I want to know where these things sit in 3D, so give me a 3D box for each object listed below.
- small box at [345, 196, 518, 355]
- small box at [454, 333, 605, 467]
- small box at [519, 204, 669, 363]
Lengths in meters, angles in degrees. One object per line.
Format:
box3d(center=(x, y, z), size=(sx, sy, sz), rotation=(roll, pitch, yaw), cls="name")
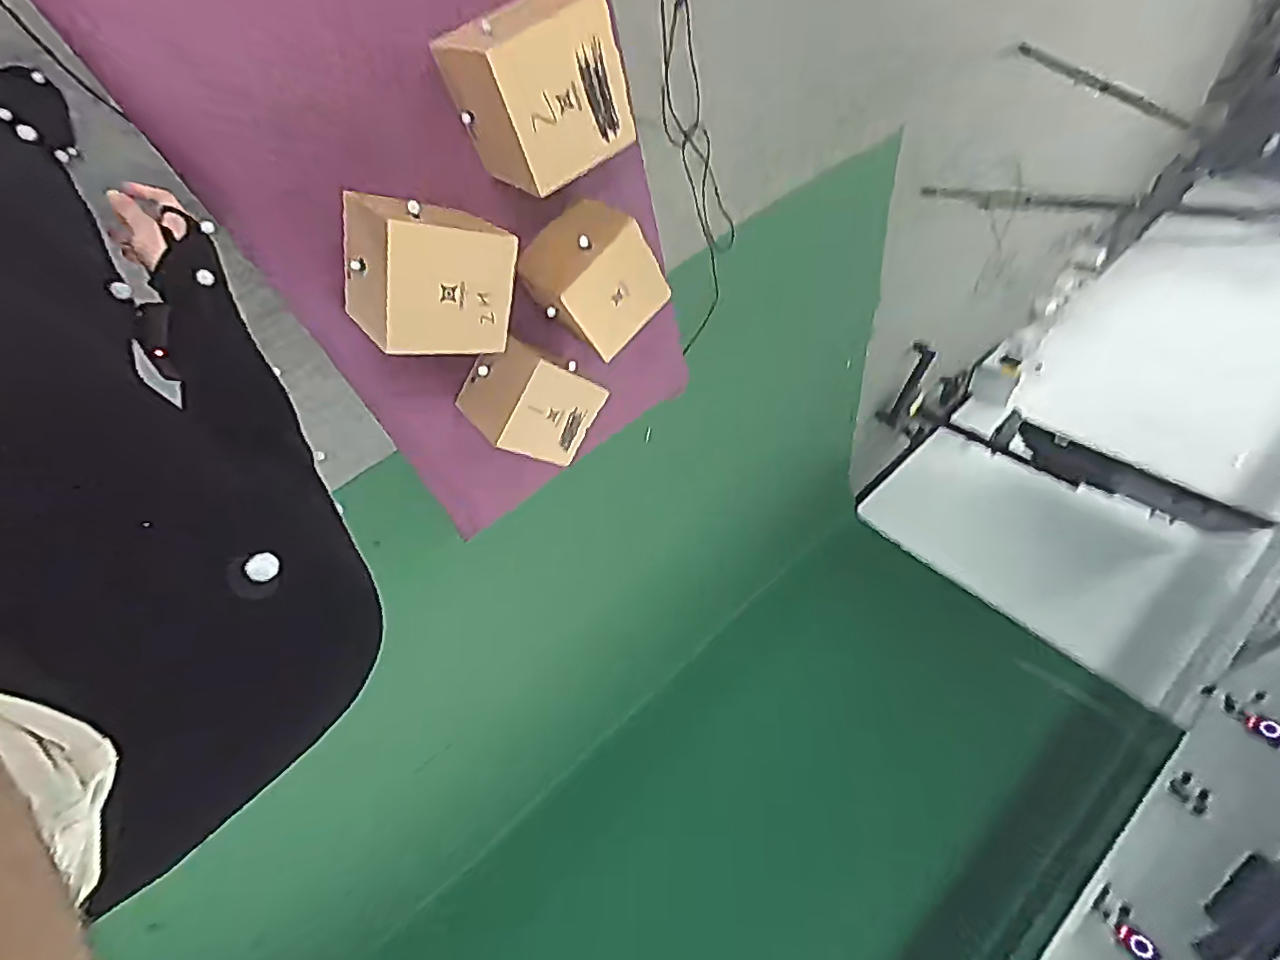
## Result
box3d(center=(-0.301, -0.286, 0.764), size=(0.179, 0.176, 0.168), rotation=(-12, 130, -42), cls="small box")
box3d(center=(-0.204, -0.148, 0.993), size=(0.179, 0.176, 0.168), rotation=(17, 108, -51), cls="small box")
box3d(center=(-0.087, -0.345, 0.946), size=(0.179, 0.176, 0.168), rotation=(-47, 144, -4), cls="small box")
